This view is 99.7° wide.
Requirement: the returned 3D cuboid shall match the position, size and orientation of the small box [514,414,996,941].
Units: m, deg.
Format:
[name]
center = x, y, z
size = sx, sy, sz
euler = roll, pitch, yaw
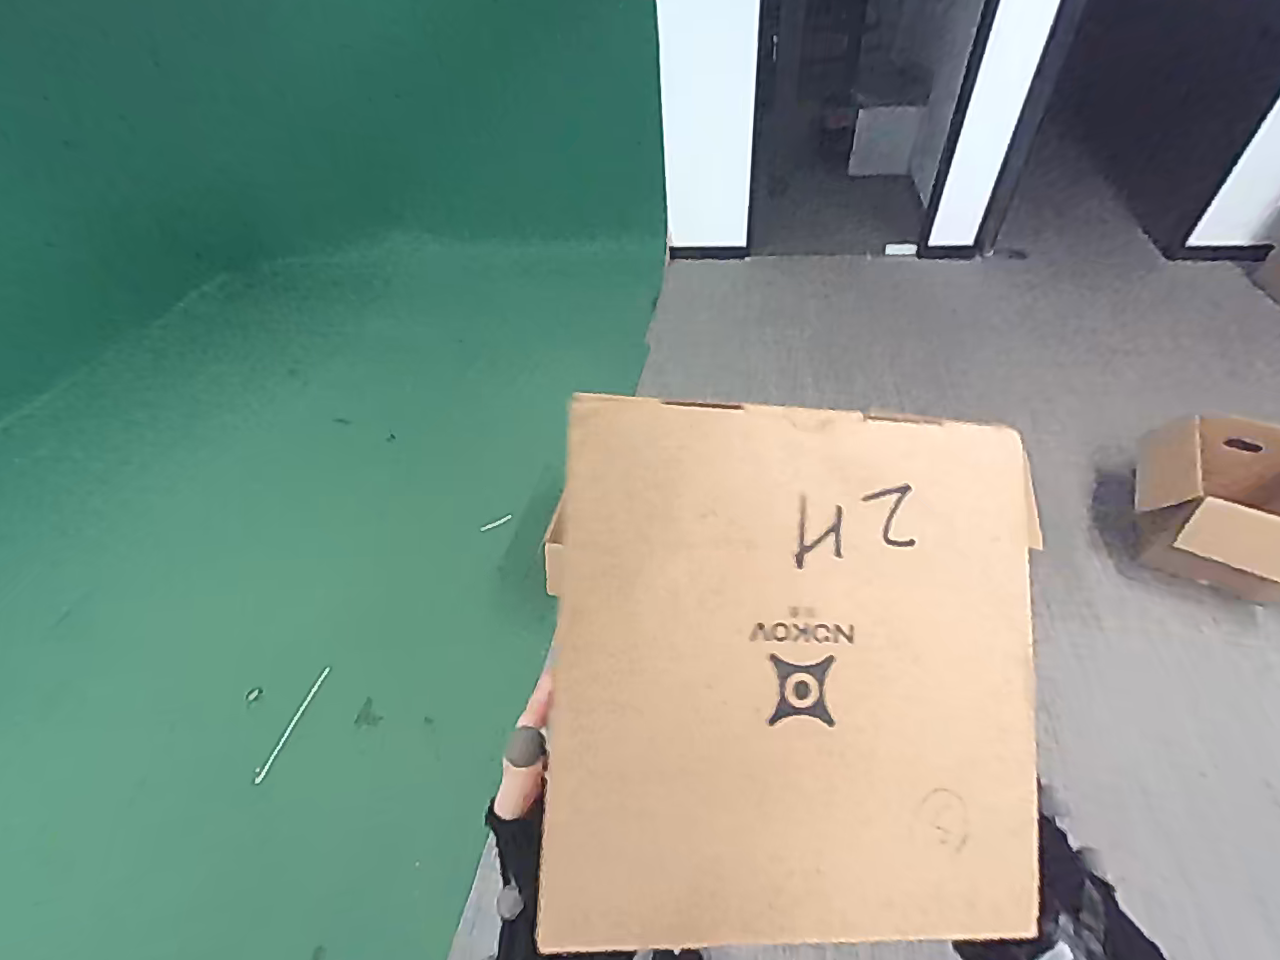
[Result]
[small box]
center = 0.038, 0.073, 0.267
size = 0.168, 0.176, 0.179
euler = 3, 84, -5
